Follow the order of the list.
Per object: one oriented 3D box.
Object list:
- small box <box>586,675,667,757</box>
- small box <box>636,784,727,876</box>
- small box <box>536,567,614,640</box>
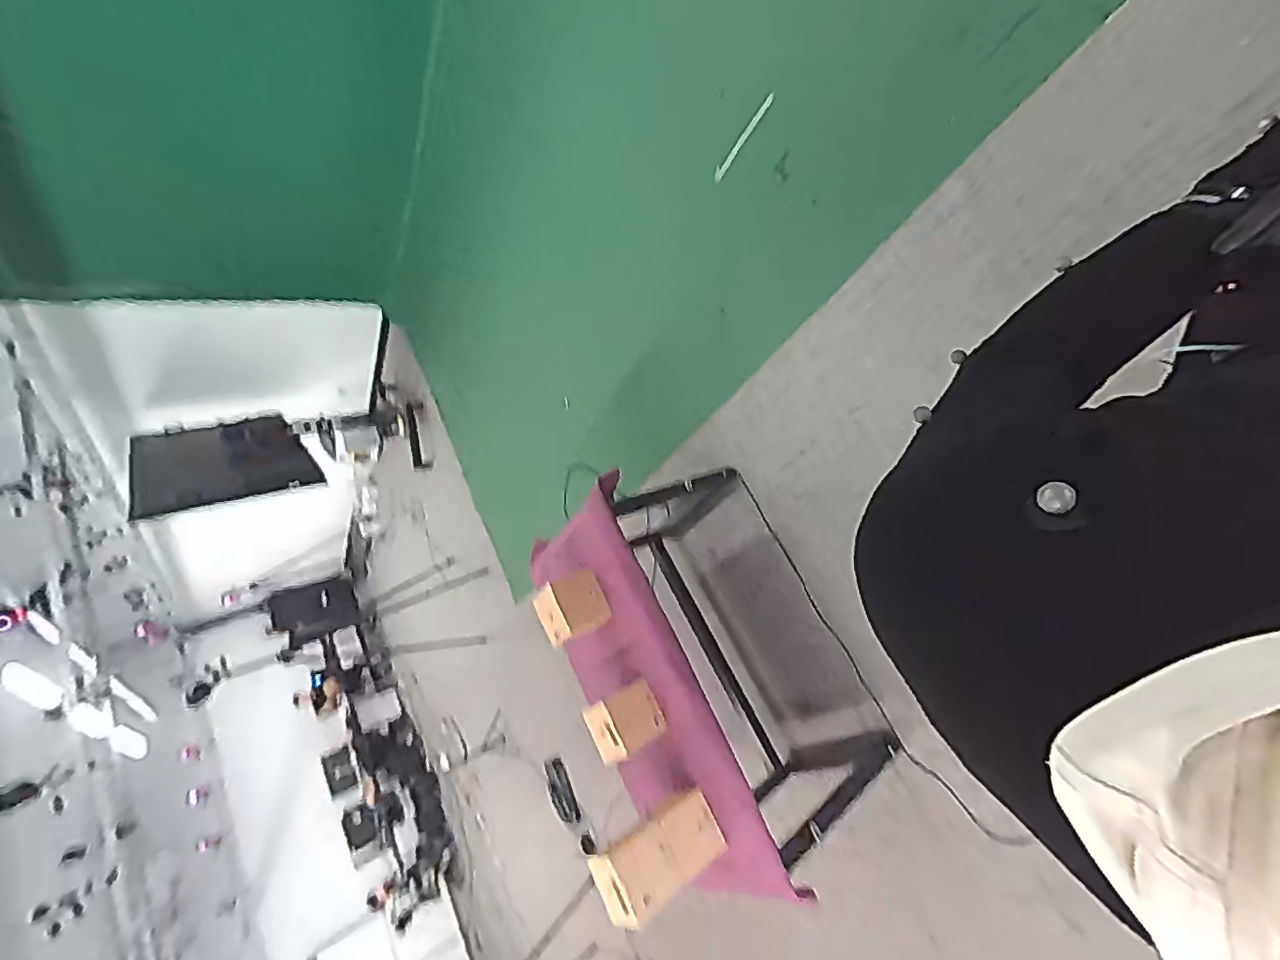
[{"bbox_3d":[-0.038,0.736,1.695,0.168,0.176,0.179,61,141,17],"label":"small box"},{"bbox_3d":[0.123,1.024,1.589,0.168,0.176,0.179,60,140,18],"label":"small box"},{"bbox_3d":[-0.216,0.406,1.805,0.168,0.176,0.179,-47,66,48],"label":"small box"}]
